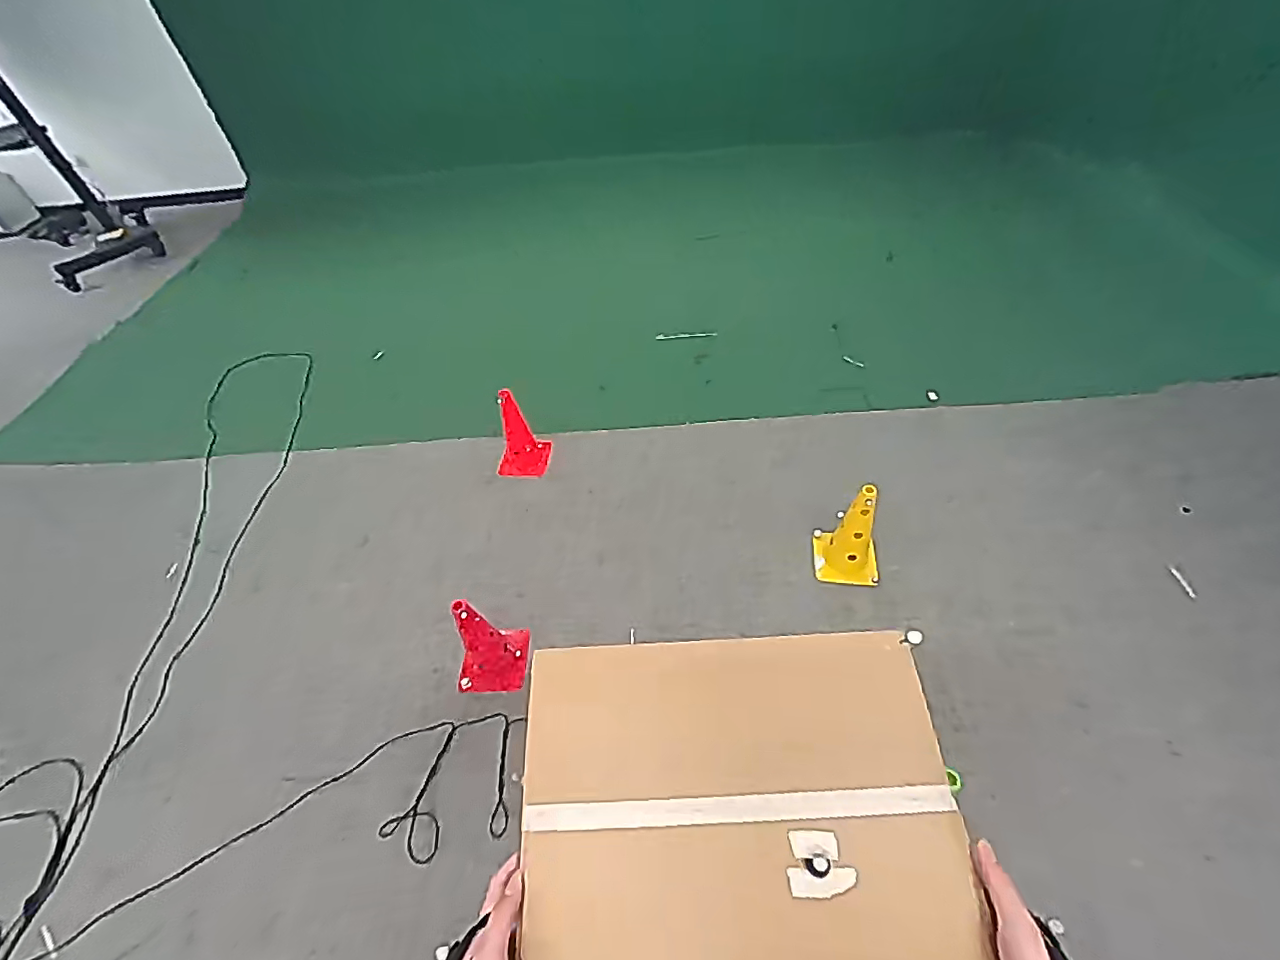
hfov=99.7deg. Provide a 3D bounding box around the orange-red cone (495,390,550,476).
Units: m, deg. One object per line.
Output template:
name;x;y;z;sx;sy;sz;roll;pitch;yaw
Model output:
orange-red cone;-0.504;-0.204;2.127;0.199;0.360;0.198;1;48;8

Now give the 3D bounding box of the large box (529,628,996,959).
large box;0.100;0.385;0.647;0.408;0.320;0.320;-4;60;1
